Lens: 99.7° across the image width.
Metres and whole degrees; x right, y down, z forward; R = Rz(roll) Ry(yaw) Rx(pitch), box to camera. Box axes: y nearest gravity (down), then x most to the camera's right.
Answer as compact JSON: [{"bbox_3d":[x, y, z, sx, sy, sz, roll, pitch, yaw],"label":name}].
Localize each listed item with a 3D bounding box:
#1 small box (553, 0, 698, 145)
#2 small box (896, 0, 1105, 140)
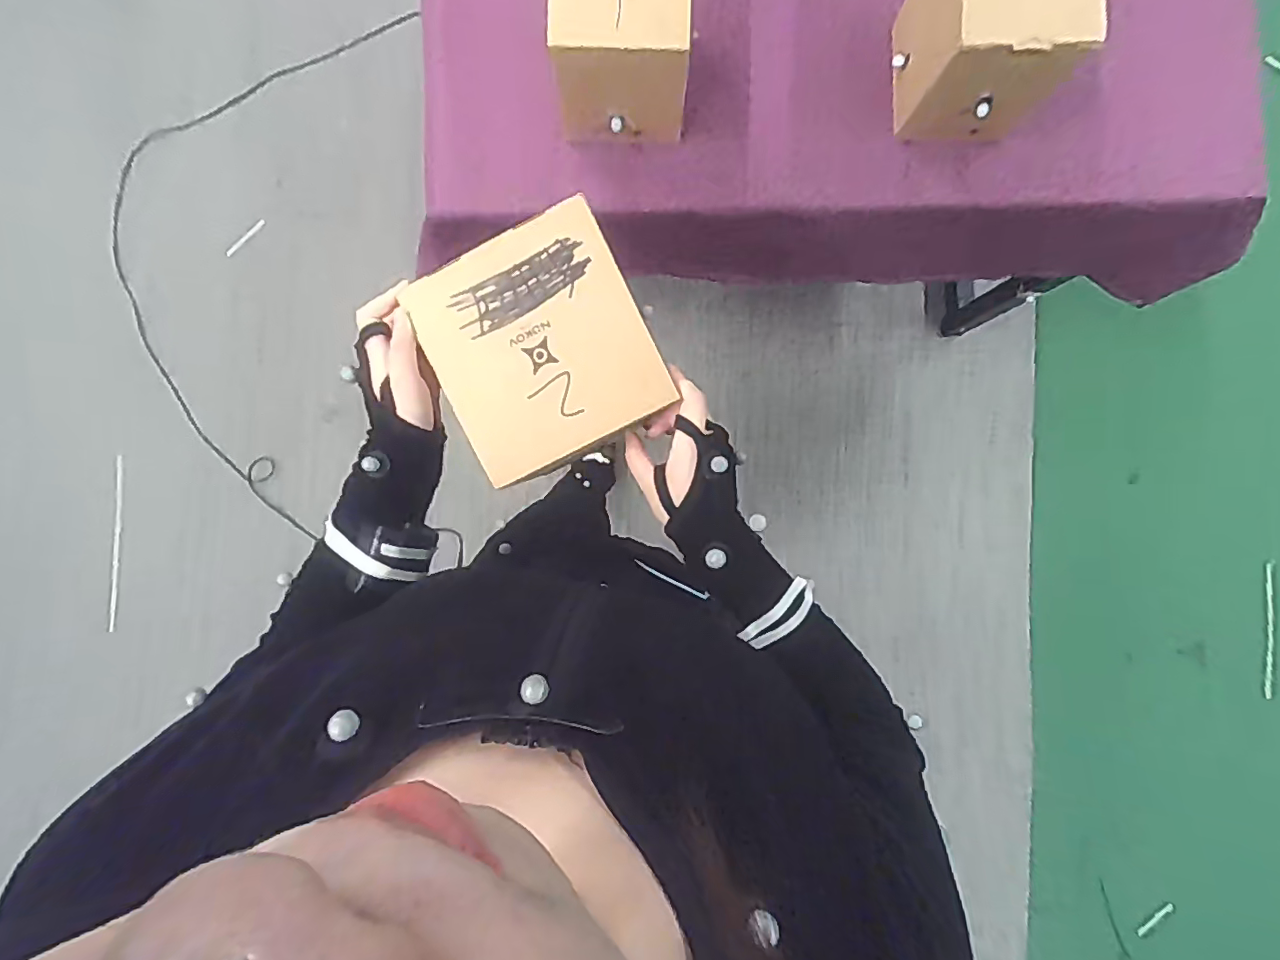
[{"bbox_3d":[-0.016,-0.573,0.696,0.168,0.176,0.179,2,89,0],"label":"small box"},{"bbox_3d":[0.450,-0.573,0.699,0.168,0.176,0.179,0,89,0],"label":"small box"}]
